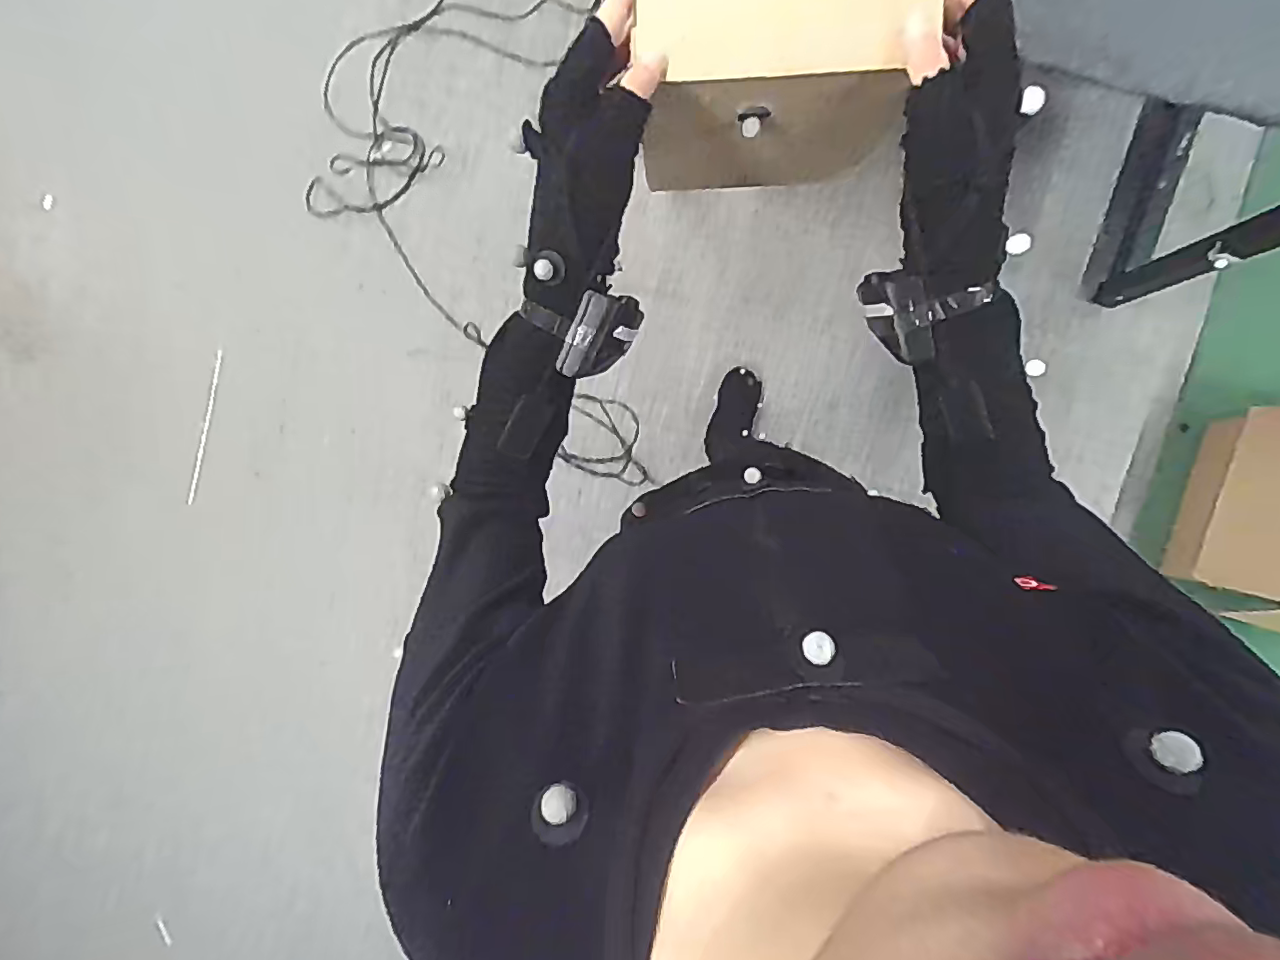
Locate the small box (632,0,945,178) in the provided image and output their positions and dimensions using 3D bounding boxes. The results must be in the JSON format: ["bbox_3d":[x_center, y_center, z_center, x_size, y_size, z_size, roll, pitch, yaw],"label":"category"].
[{"bbox_3d":[0.089,-0.330,0.377,0.179,0.176,0.168,0,99,4],"label":"small box"}]
